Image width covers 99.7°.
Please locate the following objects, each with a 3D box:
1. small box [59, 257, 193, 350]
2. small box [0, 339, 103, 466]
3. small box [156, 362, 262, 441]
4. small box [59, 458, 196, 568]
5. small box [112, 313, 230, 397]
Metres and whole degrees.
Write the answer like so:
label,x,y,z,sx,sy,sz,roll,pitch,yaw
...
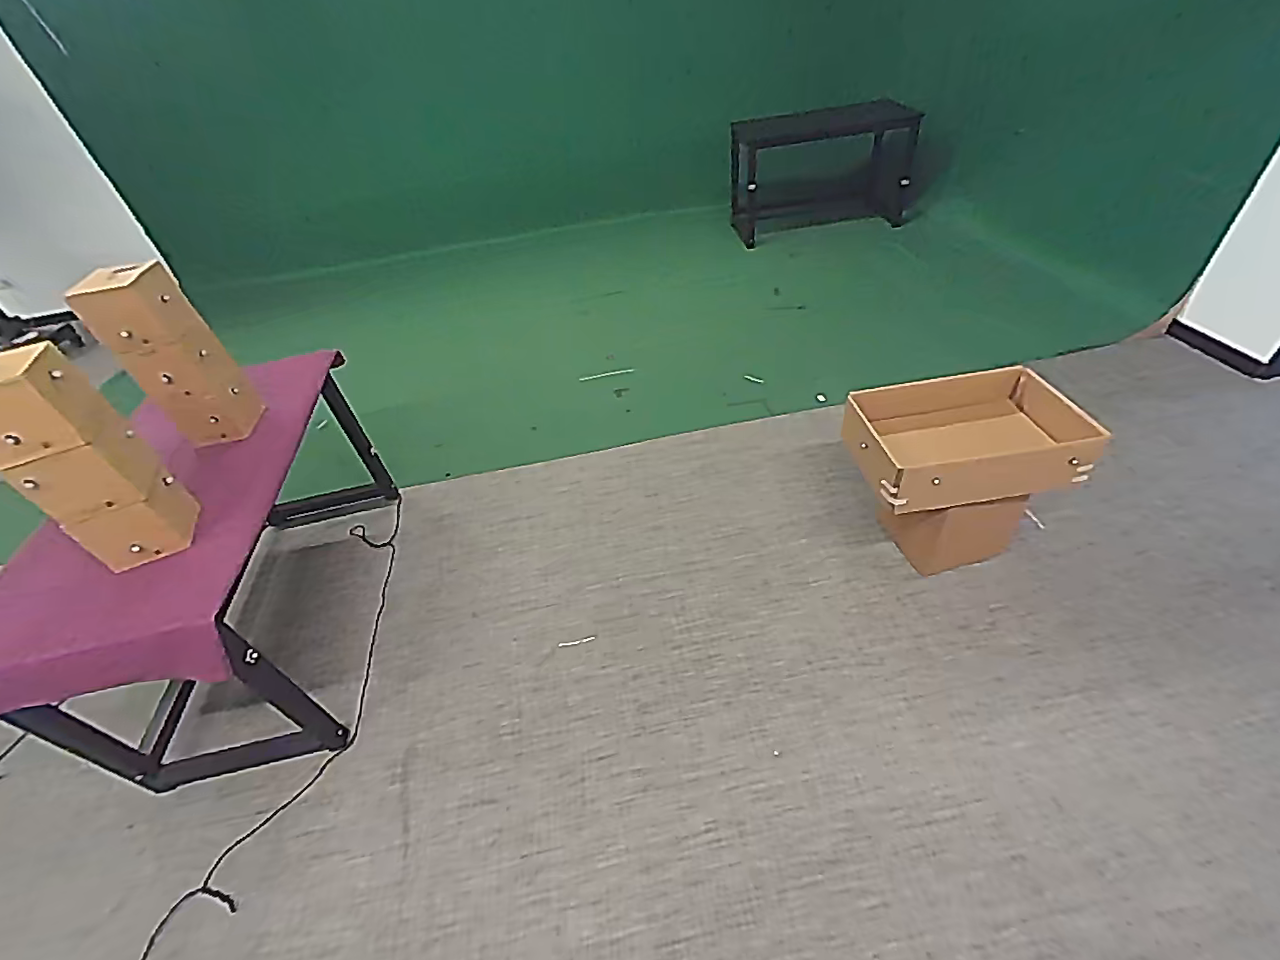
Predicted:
label,x,y,z,sx,sy,sz,roll,pitch,yaw
small box,-1.354,-0.471,1.444,0.168,0.176,0.179,-12,45,-4
small box,-1.263,-0.159,1.103,0.168,0.176,0.179,-22,45,-15
small box,-1.315,-0.236,1.669,0.168,0.176,0.179,-10,44,-2
small box,-1.236,0.081,1.323,0.168,0.176,0.179,-22,45,-13
small box,-1.334,-0.353,1.557,0.168,0.176,0.179,-11,45,-4
